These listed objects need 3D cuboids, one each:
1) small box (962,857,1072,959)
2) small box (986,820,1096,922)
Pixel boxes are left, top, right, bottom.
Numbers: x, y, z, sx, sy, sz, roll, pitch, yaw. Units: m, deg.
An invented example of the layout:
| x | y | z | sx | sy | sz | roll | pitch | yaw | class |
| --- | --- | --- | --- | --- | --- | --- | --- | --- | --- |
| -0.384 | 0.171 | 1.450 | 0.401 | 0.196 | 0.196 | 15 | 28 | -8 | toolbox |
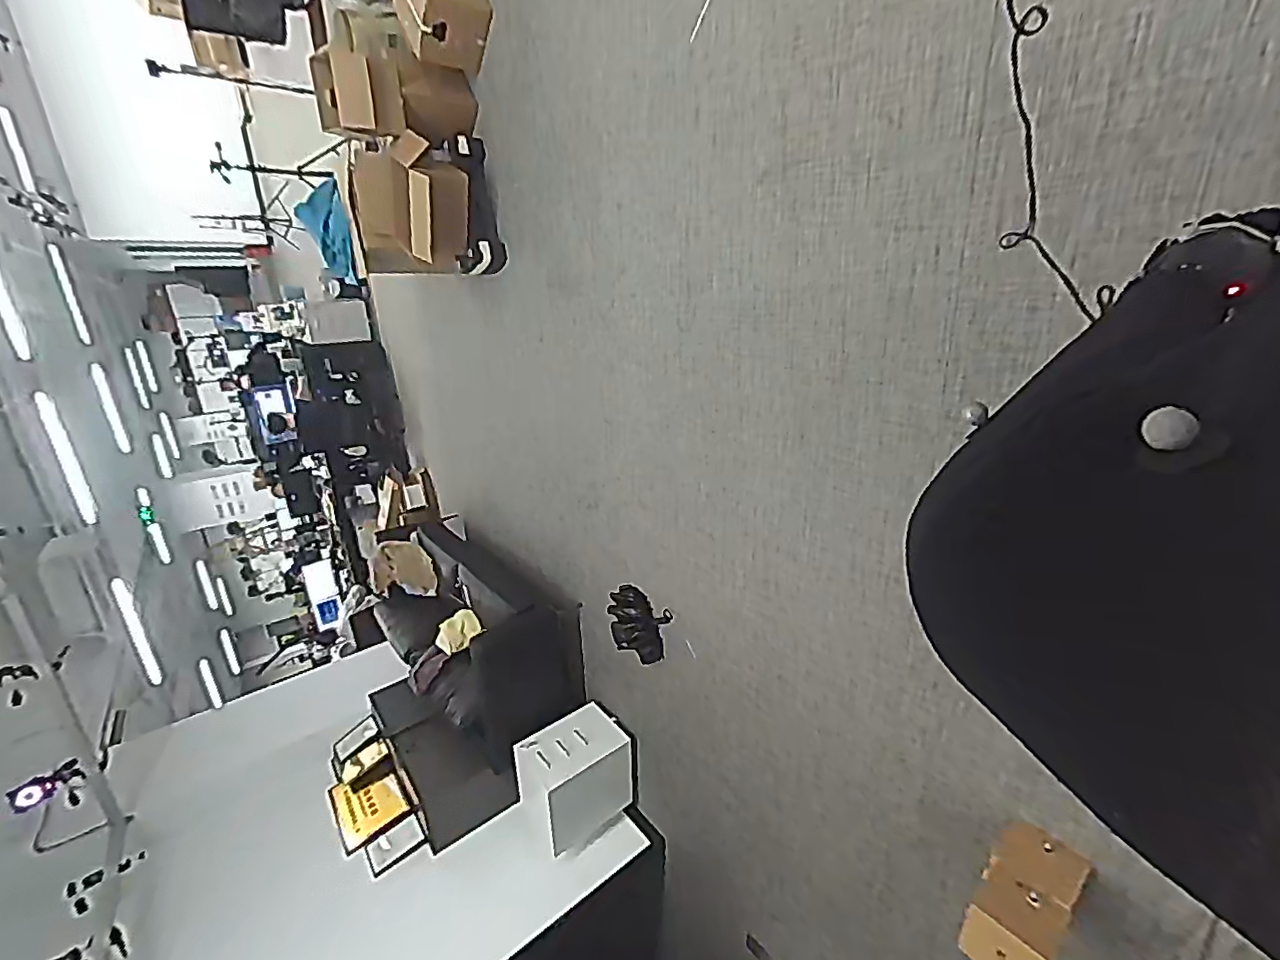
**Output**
| x | y | z | sx | sy | sz | roll | pitch | yaw | class |
| --- | --- | --- | --- | --- | --- | --- | --- | --- | --- |
| 0.930 | 1.095 | 1.333 | 0.168 | 0.176 | 0.179 | 22 | 120 | 46 | small box |
| 1.053 | 1.044 | 1.428 | 0.179 | 0.176 | 0.168 | 24 | 123 | 48 | small box |
